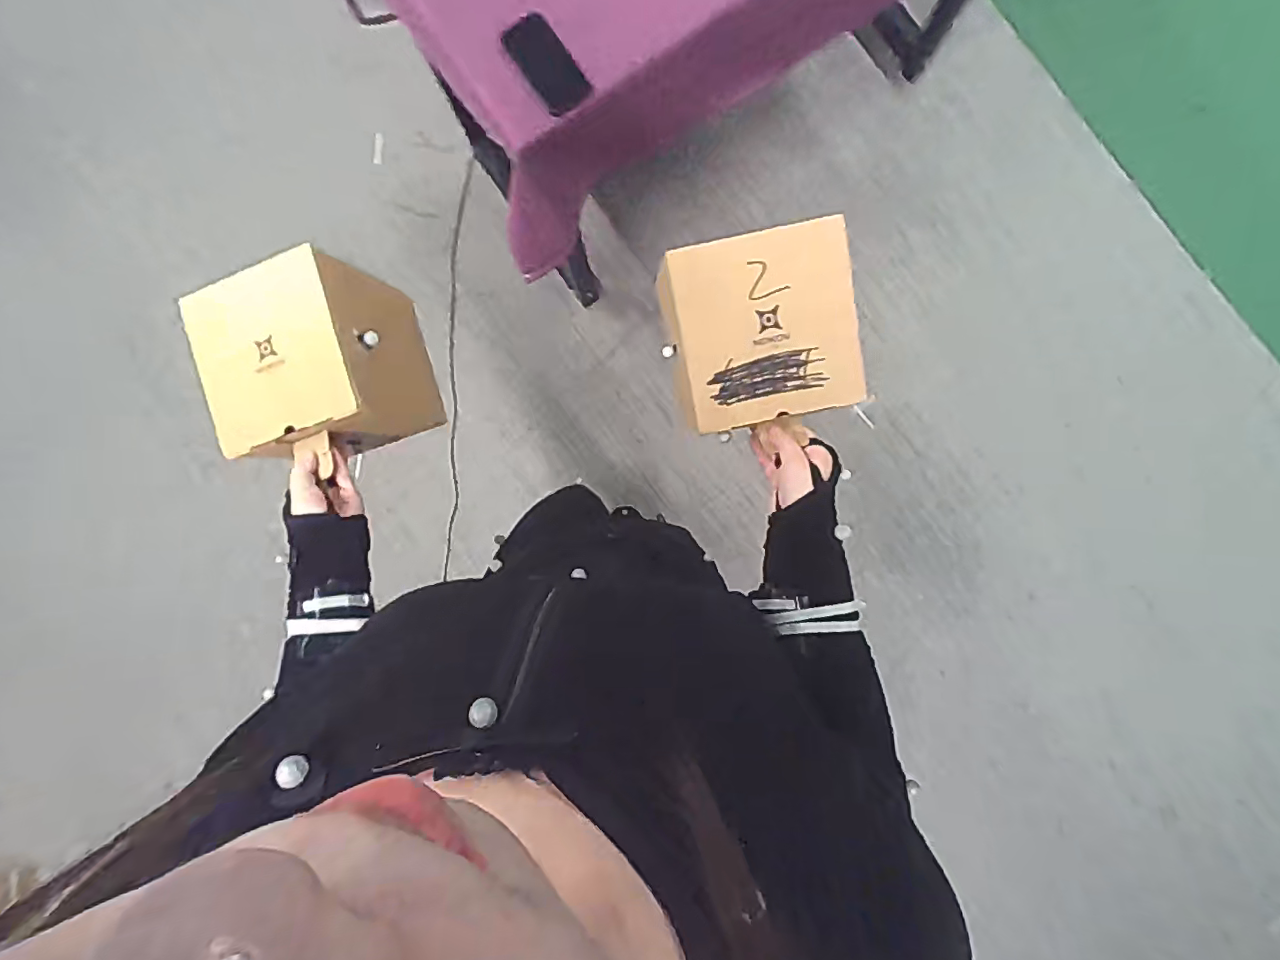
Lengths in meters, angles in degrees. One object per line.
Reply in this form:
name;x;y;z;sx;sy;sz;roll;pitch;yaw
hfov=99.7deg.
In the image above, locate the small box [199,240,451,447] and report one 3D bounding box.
small box;-0.351;-0.142;0.633;0.168;0.176;0.179;-15;90;11
